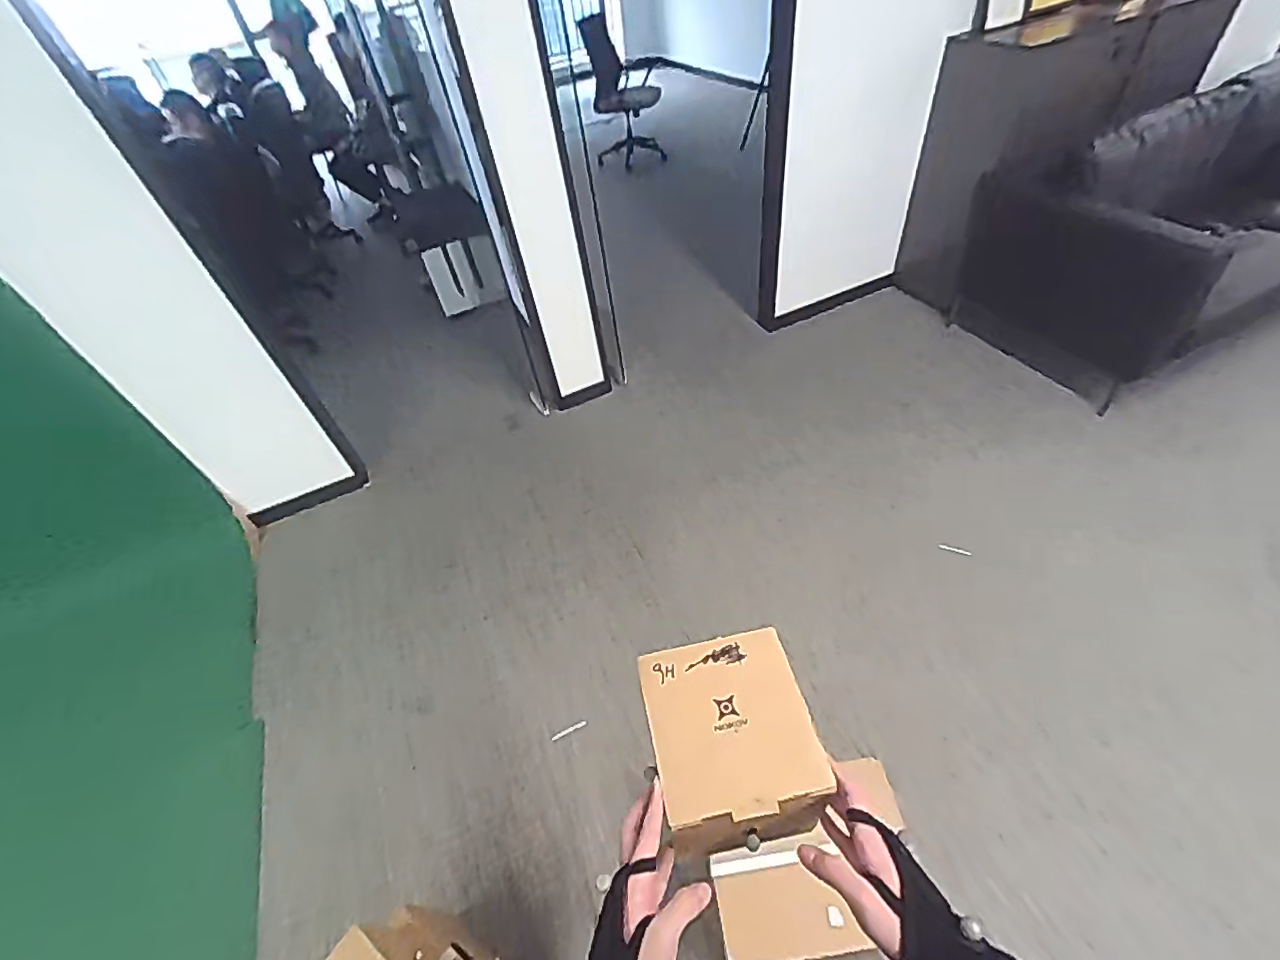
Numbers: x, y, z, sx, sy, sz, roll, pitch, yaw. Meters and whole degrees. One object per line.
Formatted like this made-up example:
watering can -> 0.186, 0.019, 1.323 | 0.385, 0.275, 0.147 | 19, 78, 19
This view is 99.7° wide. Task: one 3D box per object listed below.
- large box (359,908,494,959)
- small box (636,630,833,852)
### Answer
large box -> -0.457, 1.153, 1.048 | 0.320, 0.320, 0.408 | 22, 55, 27
small box -> 0.096, 0.302, 0.616 | 0.168, 0.176, 0.179 | -11, 47, -4
